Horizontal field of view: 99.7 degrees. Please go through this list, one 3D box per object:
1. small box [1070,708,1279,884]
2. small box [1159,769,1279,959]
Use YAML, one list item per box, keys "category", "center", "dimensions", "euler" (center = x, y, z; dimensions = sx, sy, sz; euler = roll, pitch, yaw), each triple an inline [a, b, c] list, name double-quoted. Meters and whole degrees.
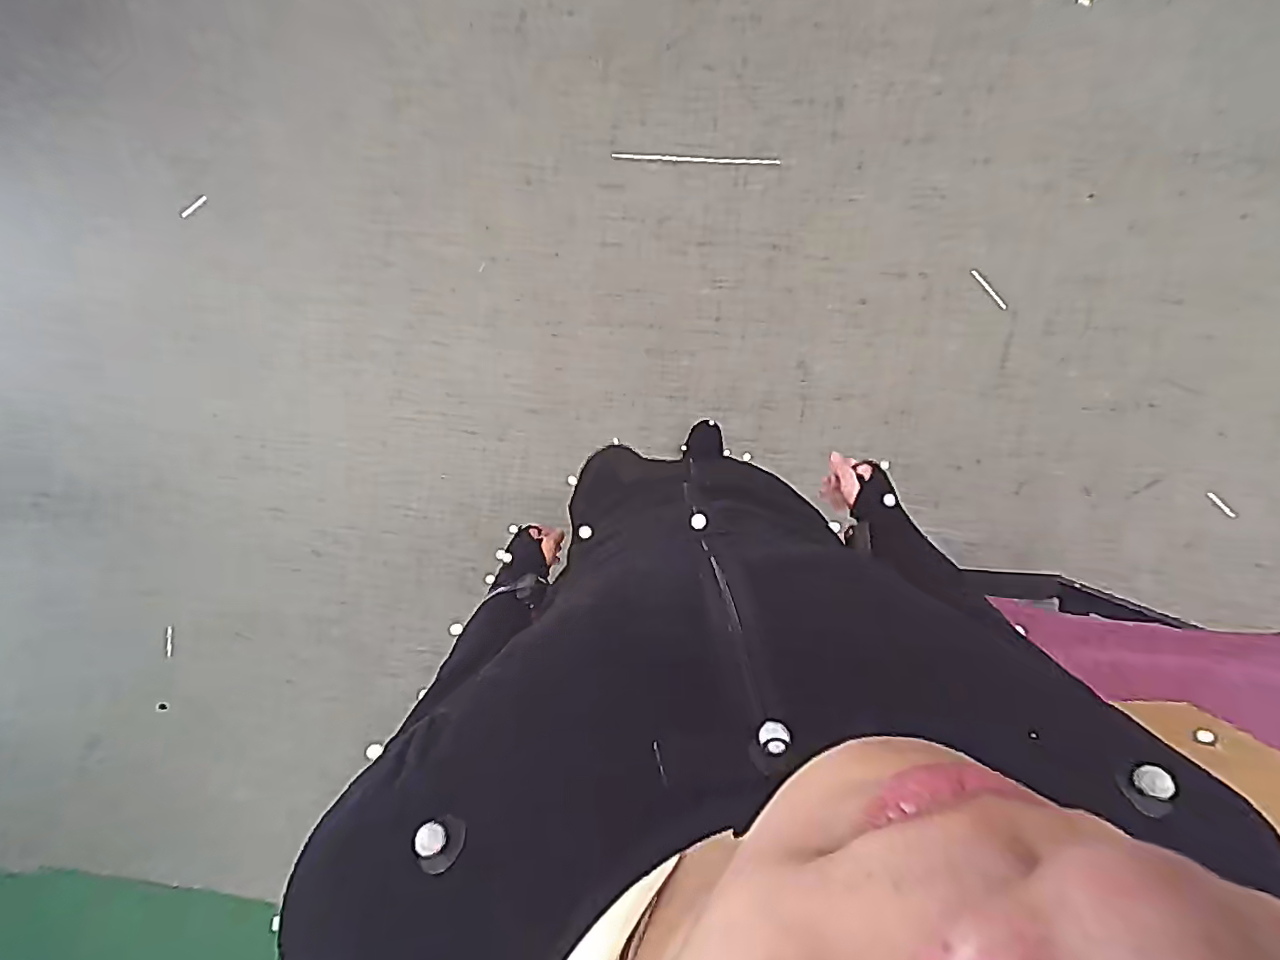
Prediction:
- category: "small box"
  center: [0.776, 0.449, 0.781]
  dimensions: [0.179, 0.176, 0.168]
  euler: [1, 93, 5]
- category: "small box"
  center: [0.758, 0.458, 0.621]
  dimensions: [0.179, 0.176, 0.168]
  euler: [1, 93, 4]
